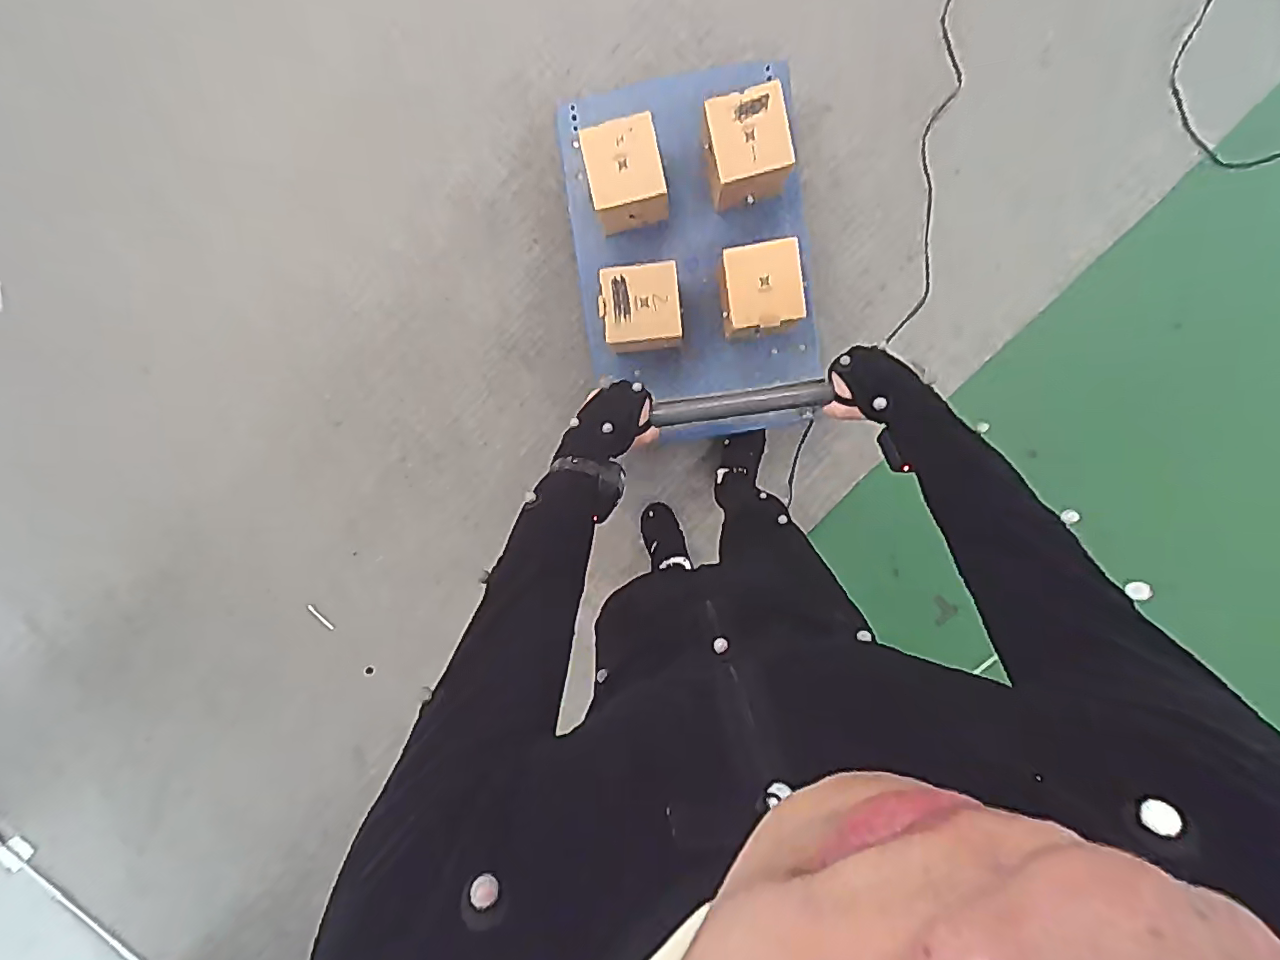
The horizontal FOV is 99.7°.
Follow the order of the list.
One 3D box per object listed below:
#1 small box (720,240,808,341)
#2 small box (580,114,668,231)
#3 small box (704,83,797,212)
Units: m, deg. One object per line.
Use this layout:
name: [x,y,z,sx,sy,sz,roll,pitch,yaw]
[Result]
small box: [0.283,-0.436,1.267,0.168,0.176,0.179,-8,96,5]
small box: [-0.030,-0.699,1.256,0.168,0.176,0.179,-12,96,4]
small box: [0.245,-0.747,1.233,0.168,0.176,0.179,-13,96,6]
